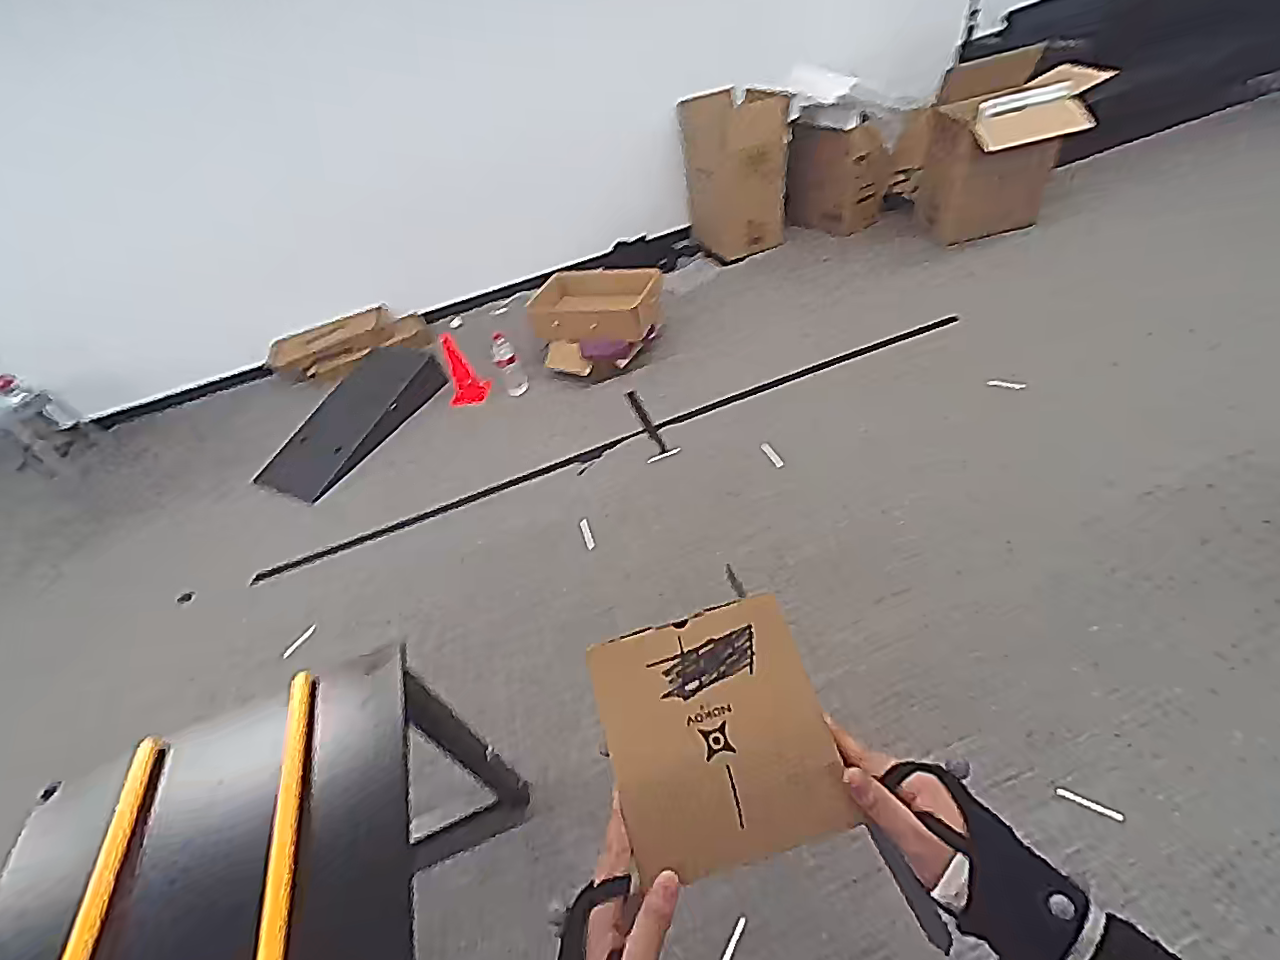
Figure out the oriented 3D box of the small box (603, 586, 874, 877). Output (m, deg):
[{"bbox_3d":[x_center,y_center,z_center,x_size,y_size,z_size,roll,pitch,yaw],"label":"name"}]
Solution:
[{"bbox_3d":[0.075,0.220,0.488,0.168,0.176,0.179,-17,63,-1],"label":"small box"}]
